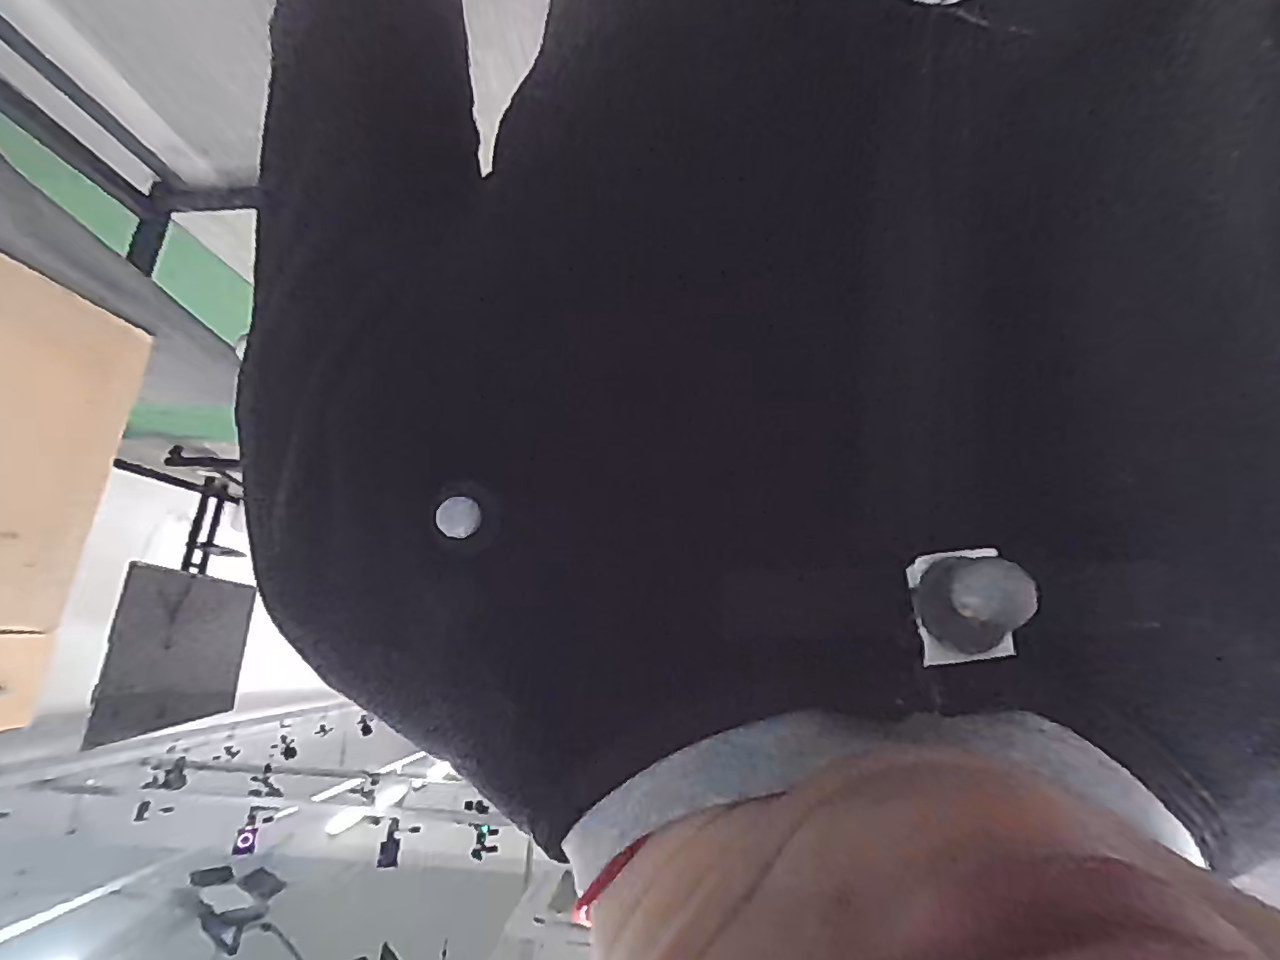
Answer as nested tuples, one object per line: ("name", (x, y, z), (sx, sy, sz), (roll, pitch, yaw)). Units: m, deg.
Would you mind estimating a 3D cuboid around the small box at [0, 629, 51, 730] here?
("small box", (-1.182, 0.341, 0.920), (0.168, 0.176, 0.179), (0, 165, -2))
